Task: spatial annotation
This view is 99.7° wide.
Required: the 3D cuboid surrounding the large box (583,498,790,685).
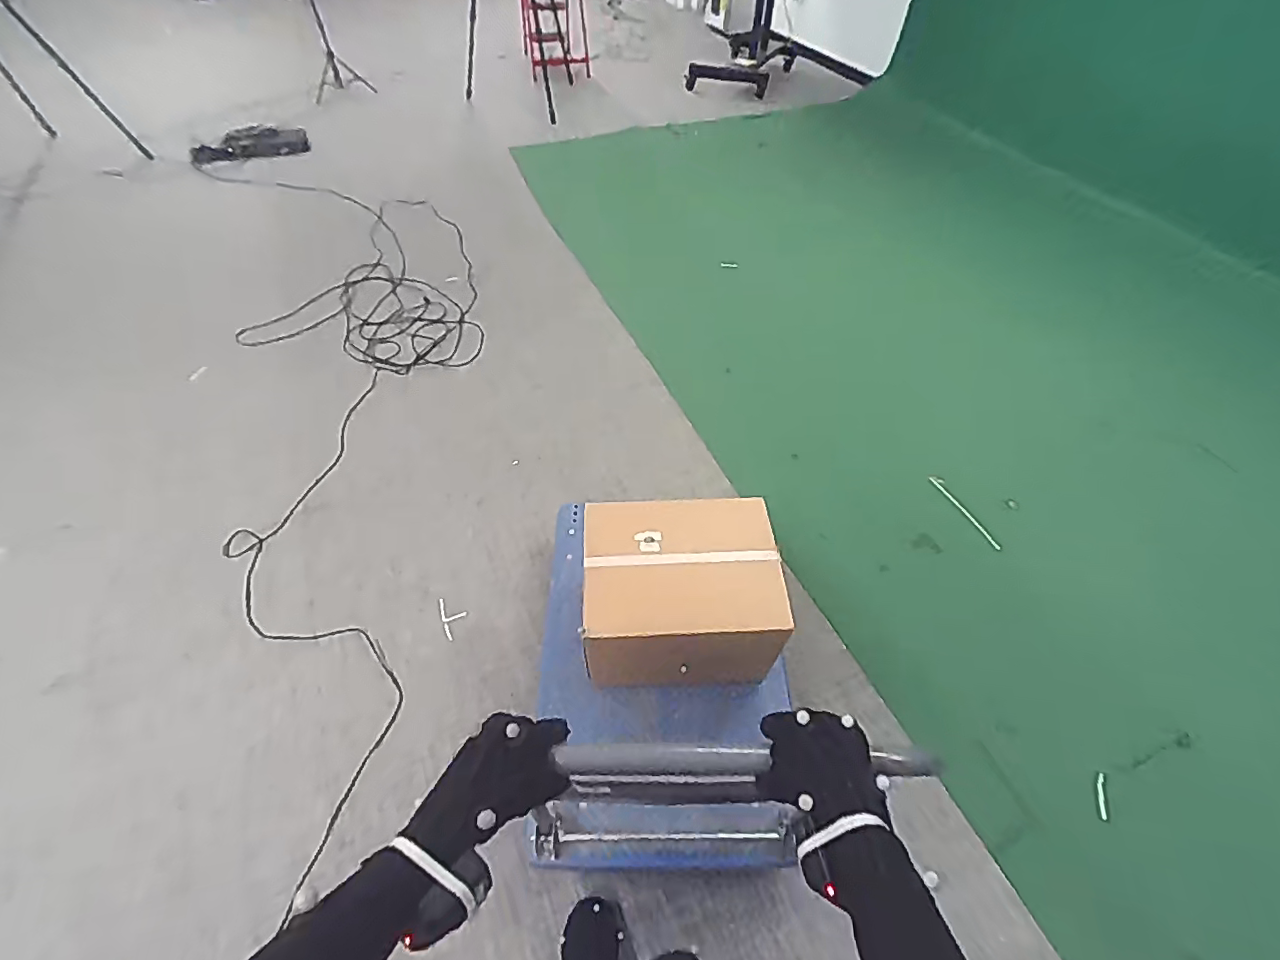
[{"bbox_3d":[0.082,0.261,1.237,0.408,0.320,0.320,-2,52,-3],"label":"large box"}]
